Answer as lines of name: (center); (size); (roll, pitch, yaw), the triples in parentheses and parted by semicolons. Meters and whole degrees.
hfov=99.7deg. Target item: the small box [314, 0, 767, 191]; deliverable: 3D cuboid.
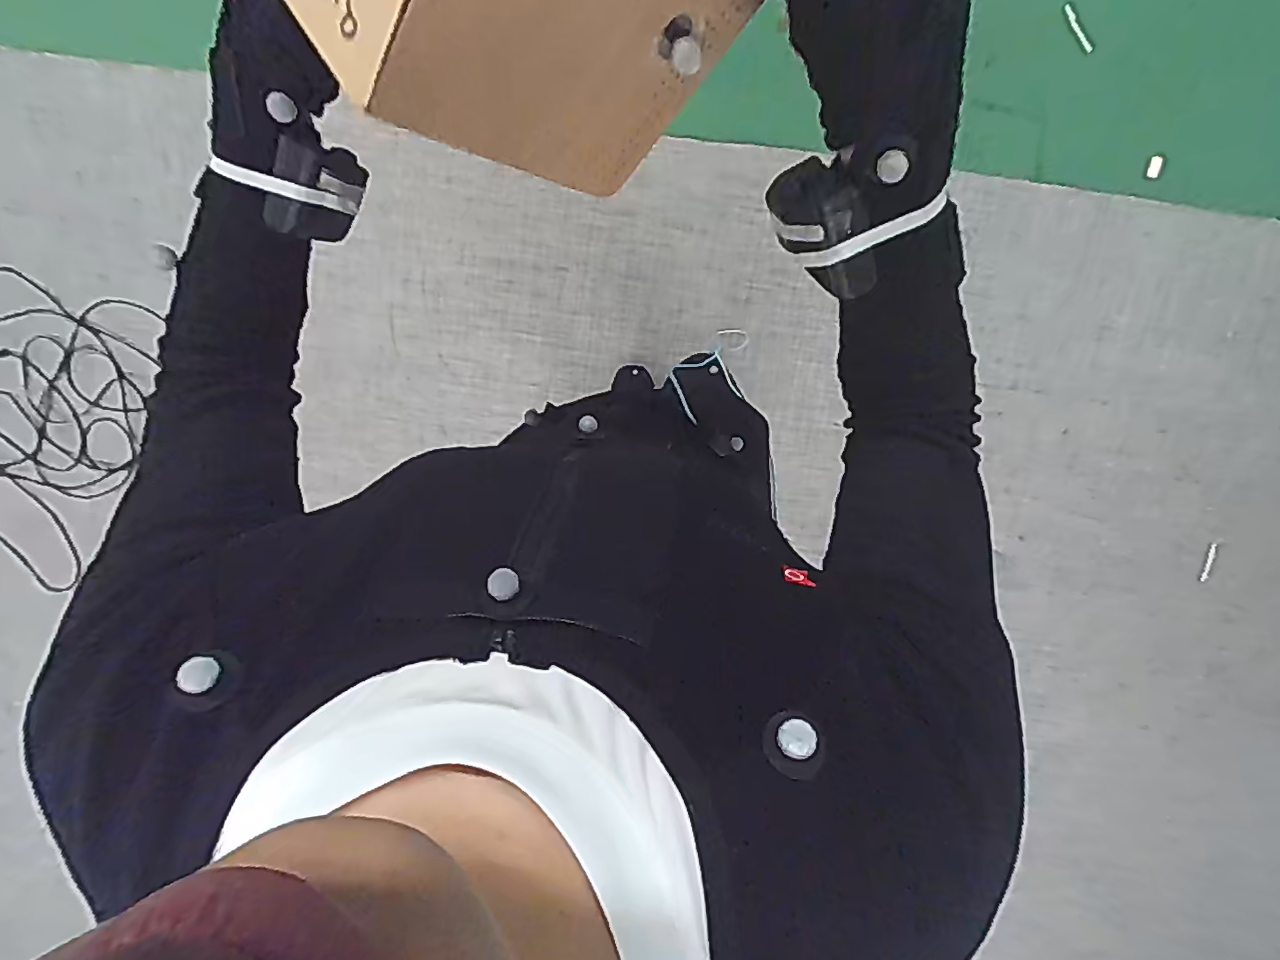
small box: (-0.046, -0.274, 0.244); (0.179, 0.176, 0.168); (-39, 81, 32)
